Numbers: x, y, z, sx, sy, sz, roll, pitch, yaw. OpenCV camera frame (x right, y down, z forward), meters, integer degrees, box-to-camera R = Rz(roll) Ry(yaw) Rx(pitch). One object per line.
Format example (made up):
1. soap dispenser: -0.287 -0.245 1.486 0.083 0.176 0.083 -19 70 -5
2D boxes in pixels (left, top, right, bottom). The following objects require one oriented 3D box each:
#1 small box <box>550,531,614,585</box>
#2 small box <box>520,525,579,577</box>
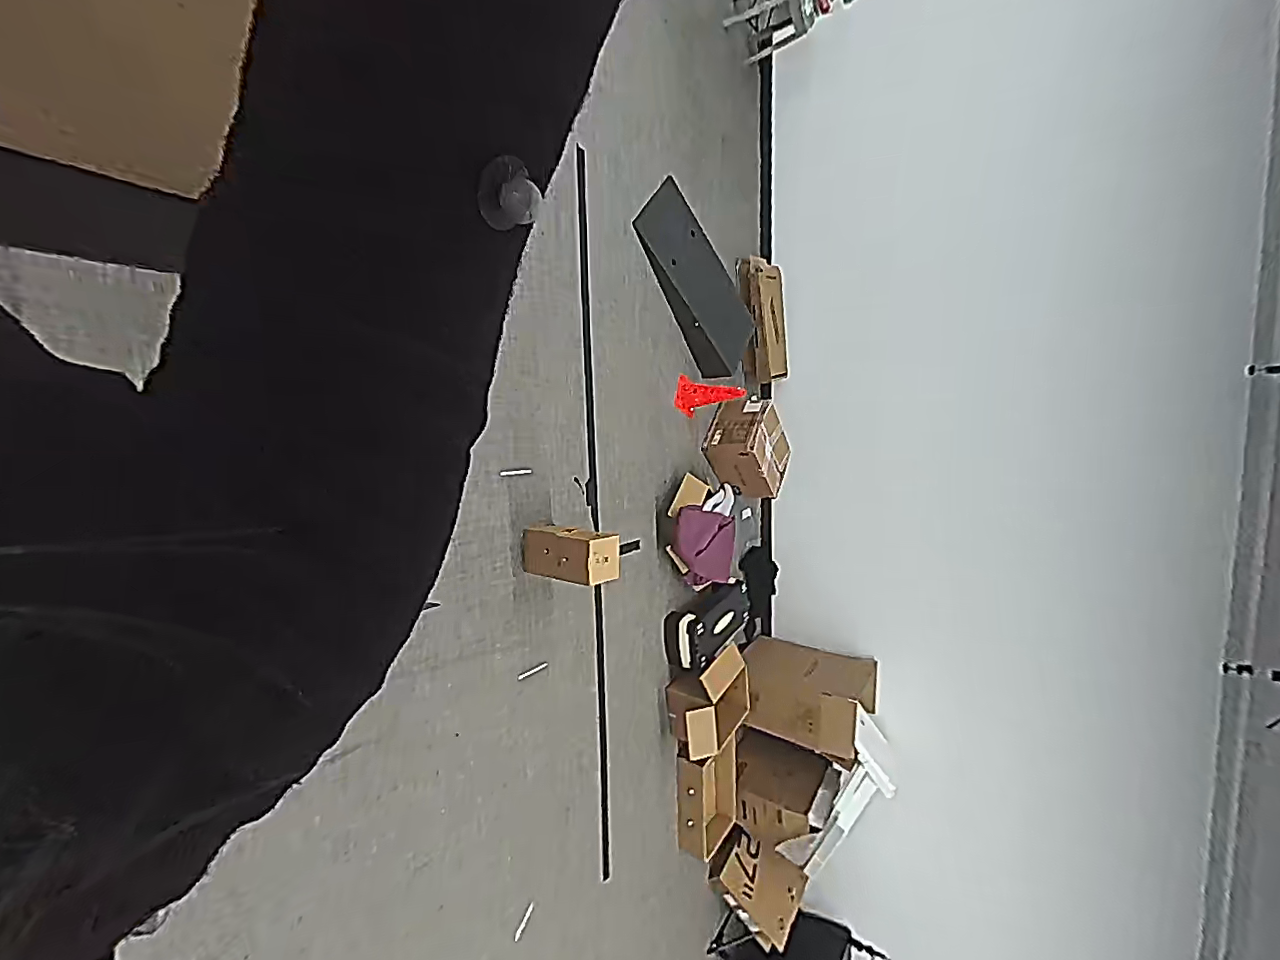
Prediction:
1. small box: -0.215 0.285 2.016 0.179 0.176 0.168 -3 95 -55
2. small box: -0.353 0.271 2.105 0.168 0.176 0.179 -3 96 -55
